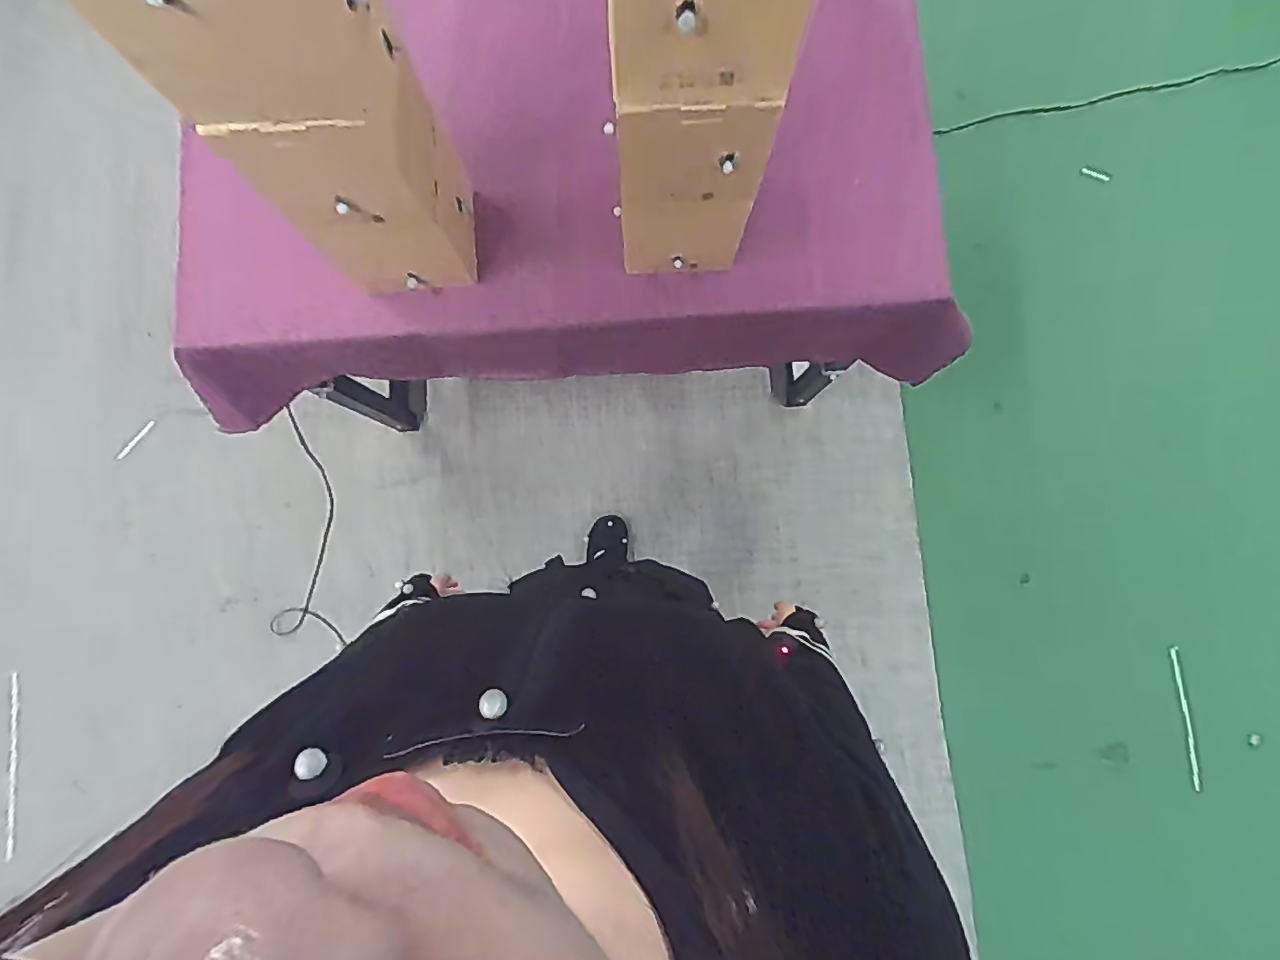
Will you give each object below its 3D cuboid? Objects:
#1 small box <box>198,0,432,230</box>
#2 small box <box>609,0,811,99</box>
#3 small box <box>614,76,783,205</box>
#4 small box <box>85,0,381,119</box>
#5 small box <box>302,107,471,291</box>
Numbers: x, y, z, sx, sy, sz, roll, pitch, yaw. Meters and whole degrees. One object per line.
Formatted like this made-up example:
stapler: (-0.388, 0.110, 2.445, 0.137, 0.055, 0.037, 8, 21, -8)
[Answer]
small box: (-0.346, -0.411, 0.607, 0.168, 0.176, 0.179, -4, 84, 0)
small box: (0.054, -0.454, 0.451, 0.168, 0.176, 0.179, -4, 83, -1)
small box: (0.055, -0.436, 0.613, 0.168, 0.176, 0.179, -4, 84, -1)
small box: (-0.340, -0.431, 0.444, 0.179, 0.176, 0.168, -2, 83, -1)
small box: (-0.347, -0.388, 0.771, 0.179, 0.176, 0.168, -5, 83, -2)
